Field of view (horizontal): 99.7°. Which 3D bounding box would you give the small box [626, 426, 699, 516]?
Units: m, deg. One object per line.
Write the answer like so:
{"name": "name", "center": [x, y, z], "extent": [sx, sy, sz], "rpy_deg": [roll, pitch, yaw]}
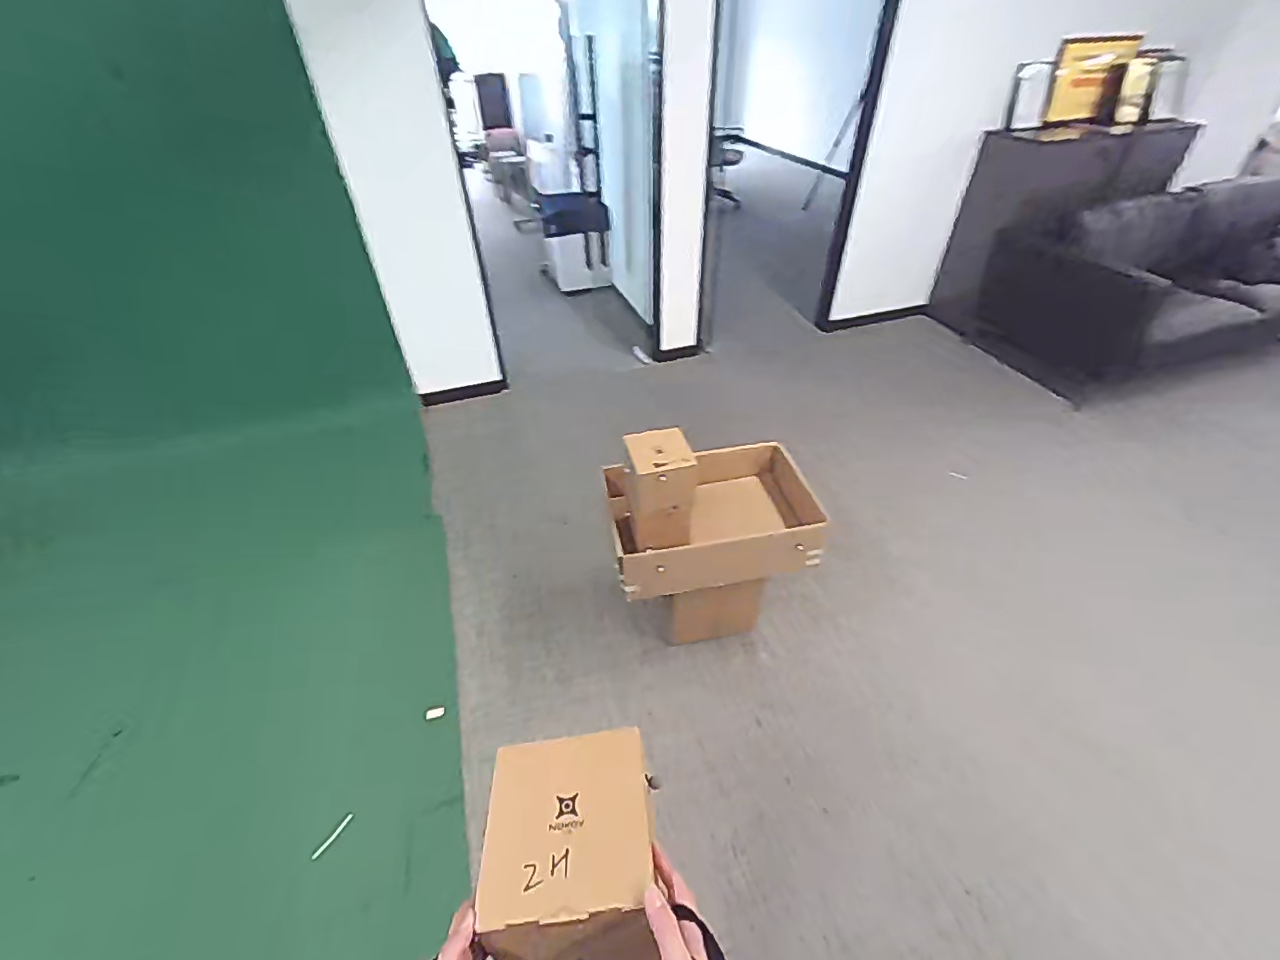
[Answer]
{"name": "small box", "center": [0.060, -0.025, 1.531], "extent": [0.168, 0.176, 0.179], "rpy_deg": [-12, 42, -8]}

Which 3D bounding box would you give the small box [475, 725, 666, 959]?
{"name": "small box", "center": [-0.065, 0.410, 0.607], "extent": [0.168, 0.176, 0.179], "rpy_deg": [-8, 33, 2]}

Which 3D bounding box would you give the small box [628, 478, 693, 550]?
{"name": "small box", "center": [0.062, 0.096, 1.642], "extent": [0.168, 0.176, 0.179], "rpy_deg": [-10, 41, -8]}
